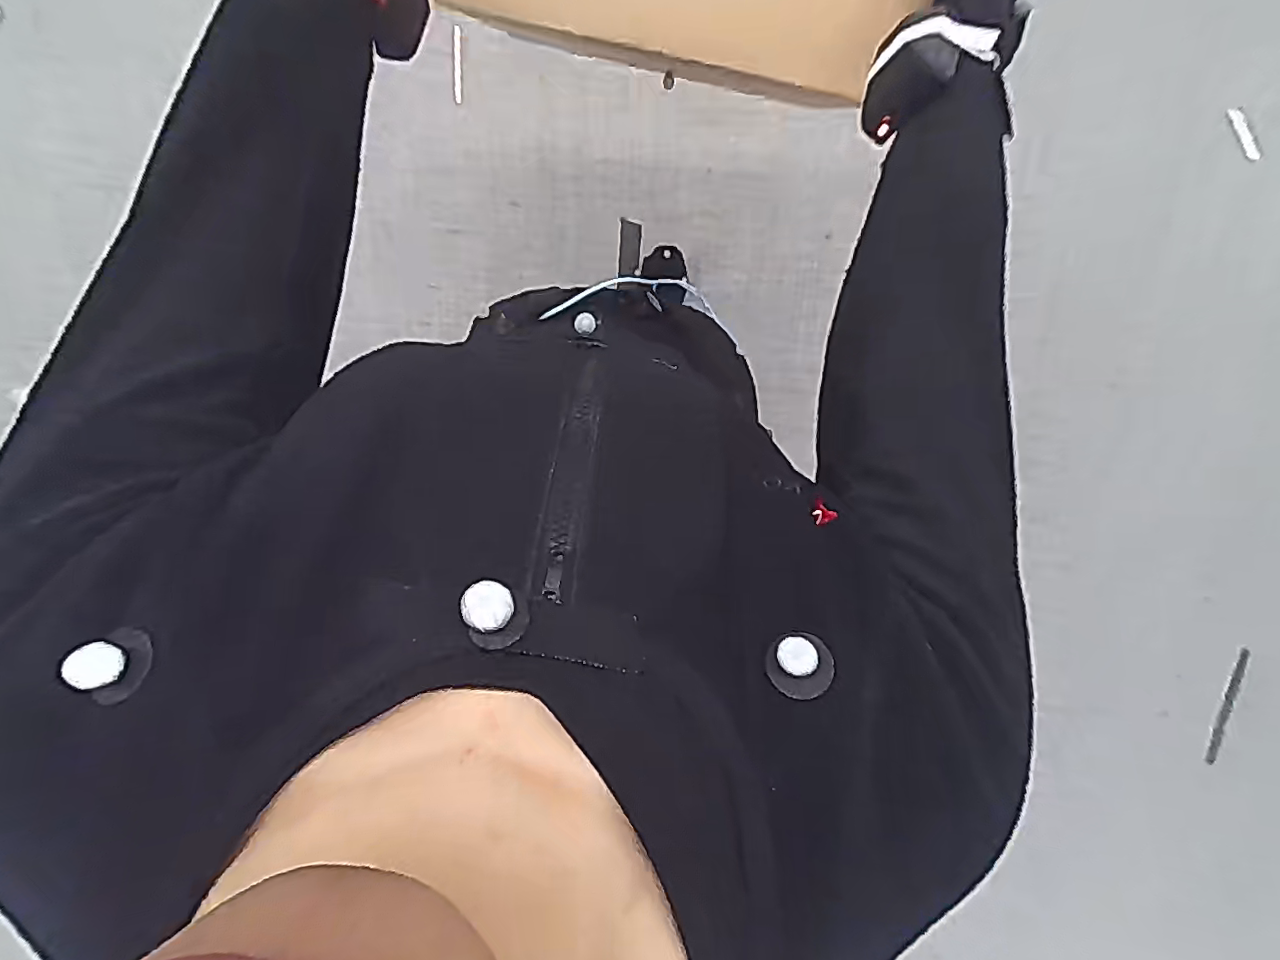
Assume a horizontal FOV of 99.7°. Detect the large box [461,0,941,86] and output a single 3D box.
[{"bbox_3d":[0.061,-0.565,0.471,0.408,0.320,0.320,9,124,-4],"label":"large box"}]
